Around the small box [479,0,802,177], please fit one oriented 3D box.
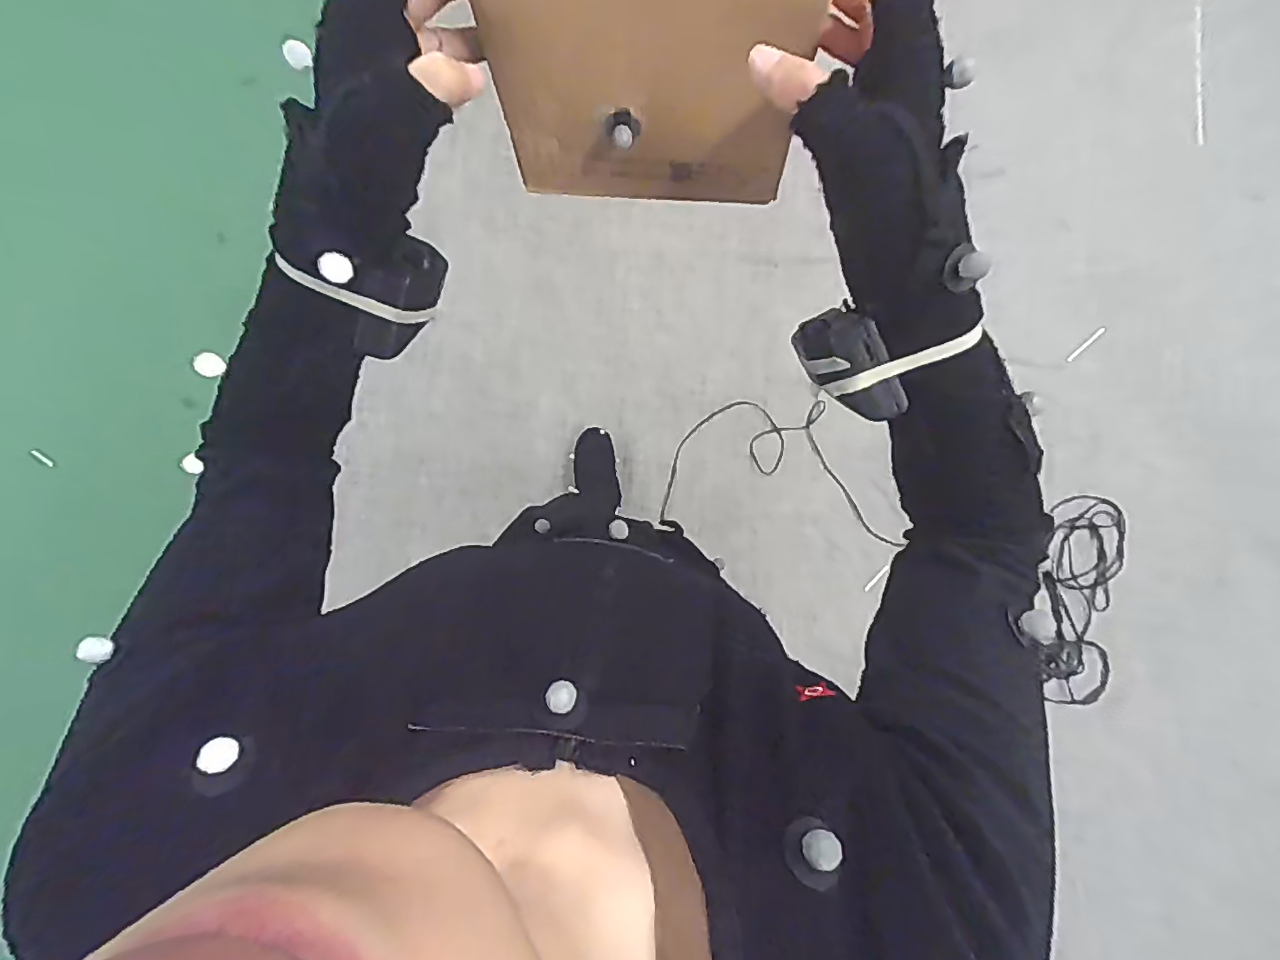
[{"bbox_3d":[0.002,-0.306,0.297,0.168,0.176,0.179,4,76,3],"label":"small box"}]
